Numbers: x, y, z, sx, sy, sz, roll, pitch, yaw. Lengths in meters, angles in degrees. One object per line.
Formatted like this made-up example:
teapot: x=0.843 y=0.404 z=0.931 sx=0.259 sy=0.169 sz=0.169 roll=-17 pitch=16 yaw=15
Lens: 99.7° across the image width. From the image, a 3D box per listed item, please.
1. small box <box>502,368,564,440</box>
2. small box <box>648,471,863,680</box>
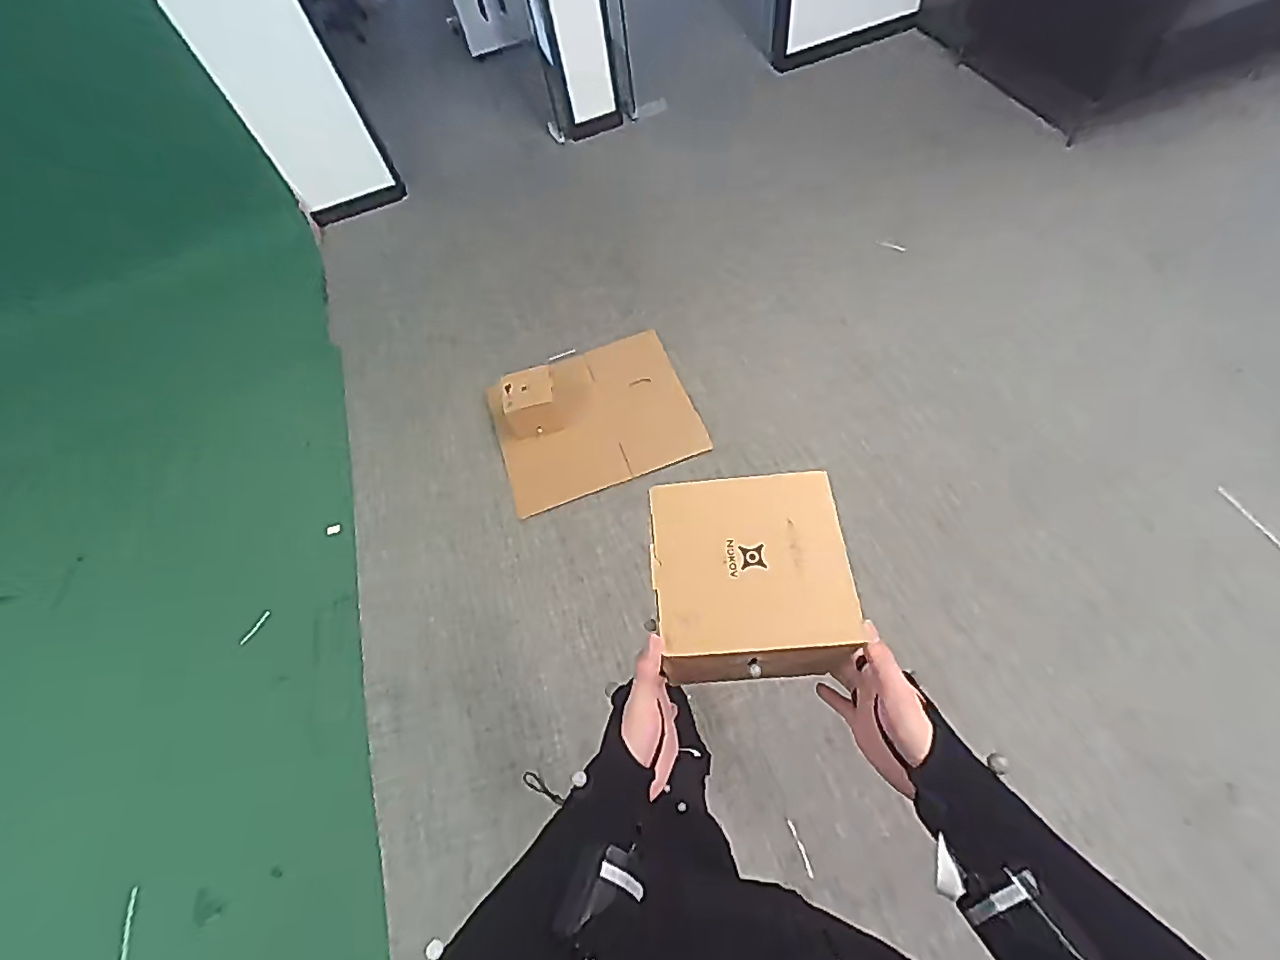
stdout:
small box: x=-0.374 y=-0.266 z=1.908 sx=0.179 sy=0.176 sz=0.168 roll=-13 pitch=59 yaw=0
small box: x=0.105 y=0.107 z=0.560 sx=0.179 sy=0.176 sz=0.168 roll=-5 pitch=62 yaw=3
